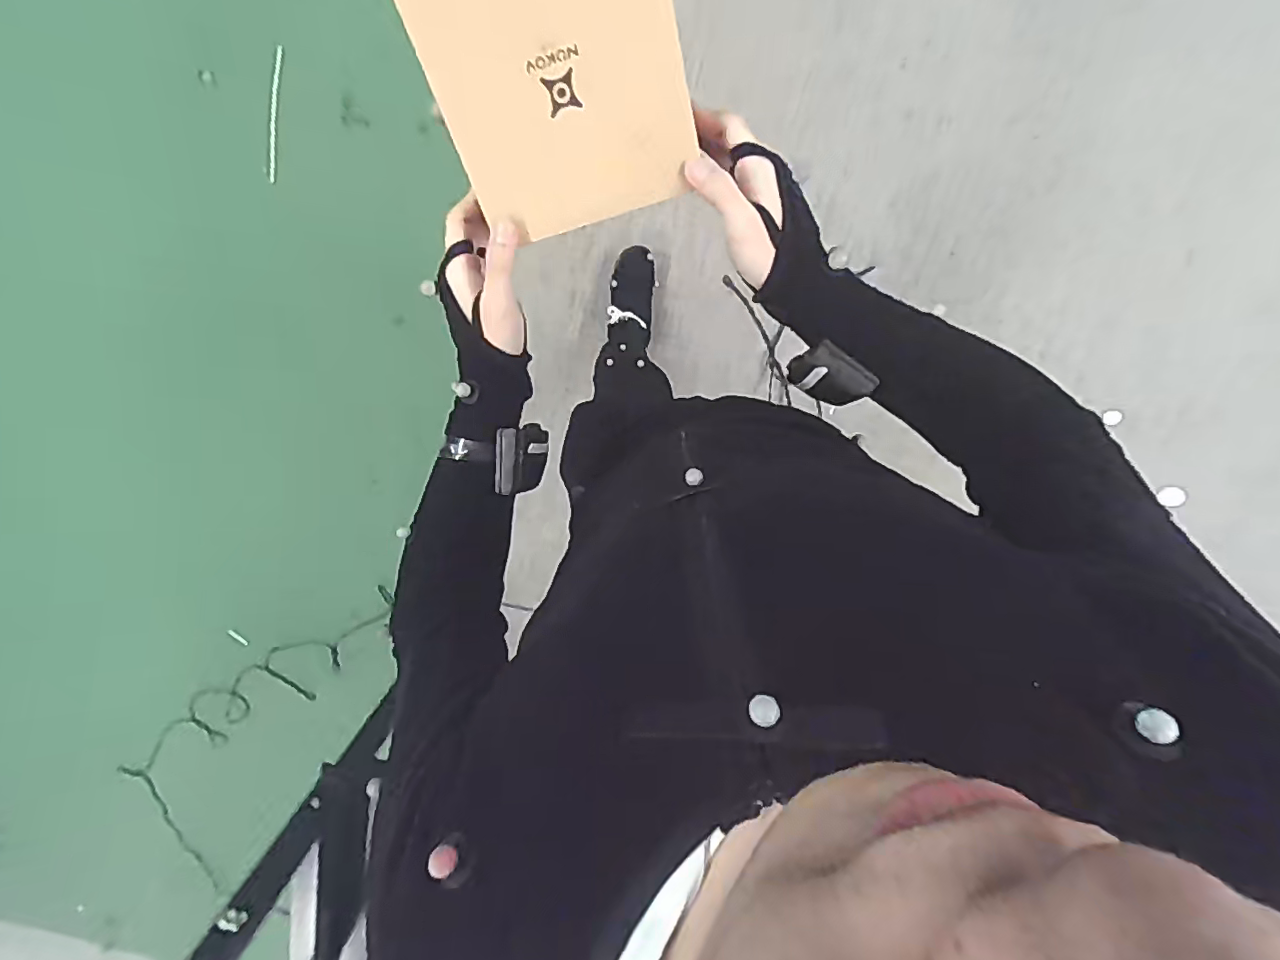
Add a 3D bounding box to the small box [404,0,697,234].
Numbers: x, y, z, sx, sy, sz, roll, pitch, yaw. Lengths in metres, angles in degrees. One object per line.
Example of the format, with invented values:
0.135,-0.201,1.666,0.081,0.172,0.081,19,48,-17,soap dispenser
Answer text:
-0.057,-0.323,0.425,0.168,0.176,0.179,-13,126,8,small box
